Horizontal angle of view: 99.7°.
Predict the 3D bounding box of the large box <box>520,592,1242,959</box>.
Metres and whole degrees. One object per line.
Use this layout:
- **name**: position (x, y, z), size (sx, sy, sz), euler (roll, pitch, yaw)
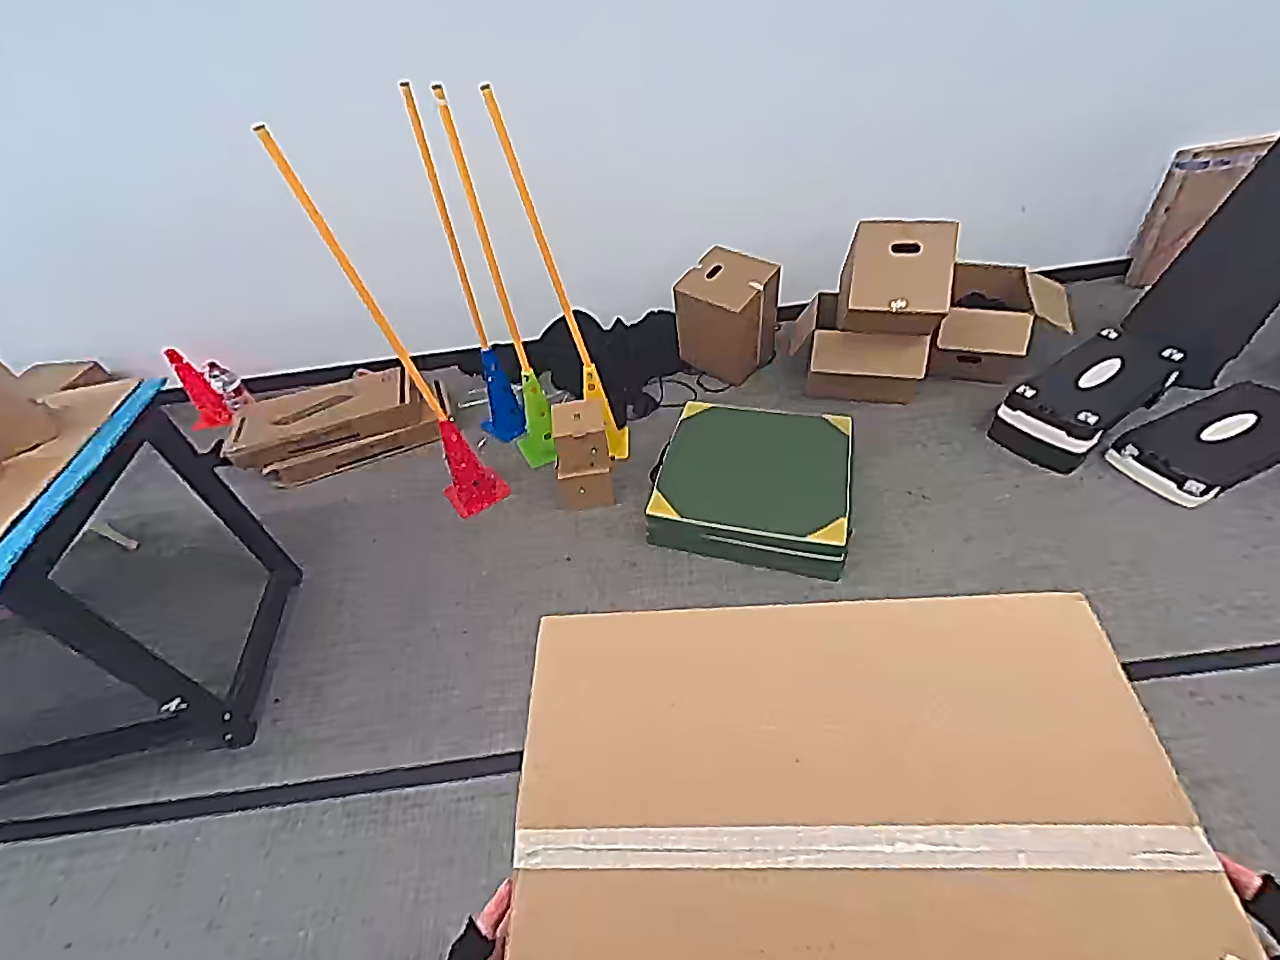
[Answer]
- **large box**: position (0.142, 0.312, 0.460), size (0.408, 0.320, 0.320), euler (-5, 55, 7)
